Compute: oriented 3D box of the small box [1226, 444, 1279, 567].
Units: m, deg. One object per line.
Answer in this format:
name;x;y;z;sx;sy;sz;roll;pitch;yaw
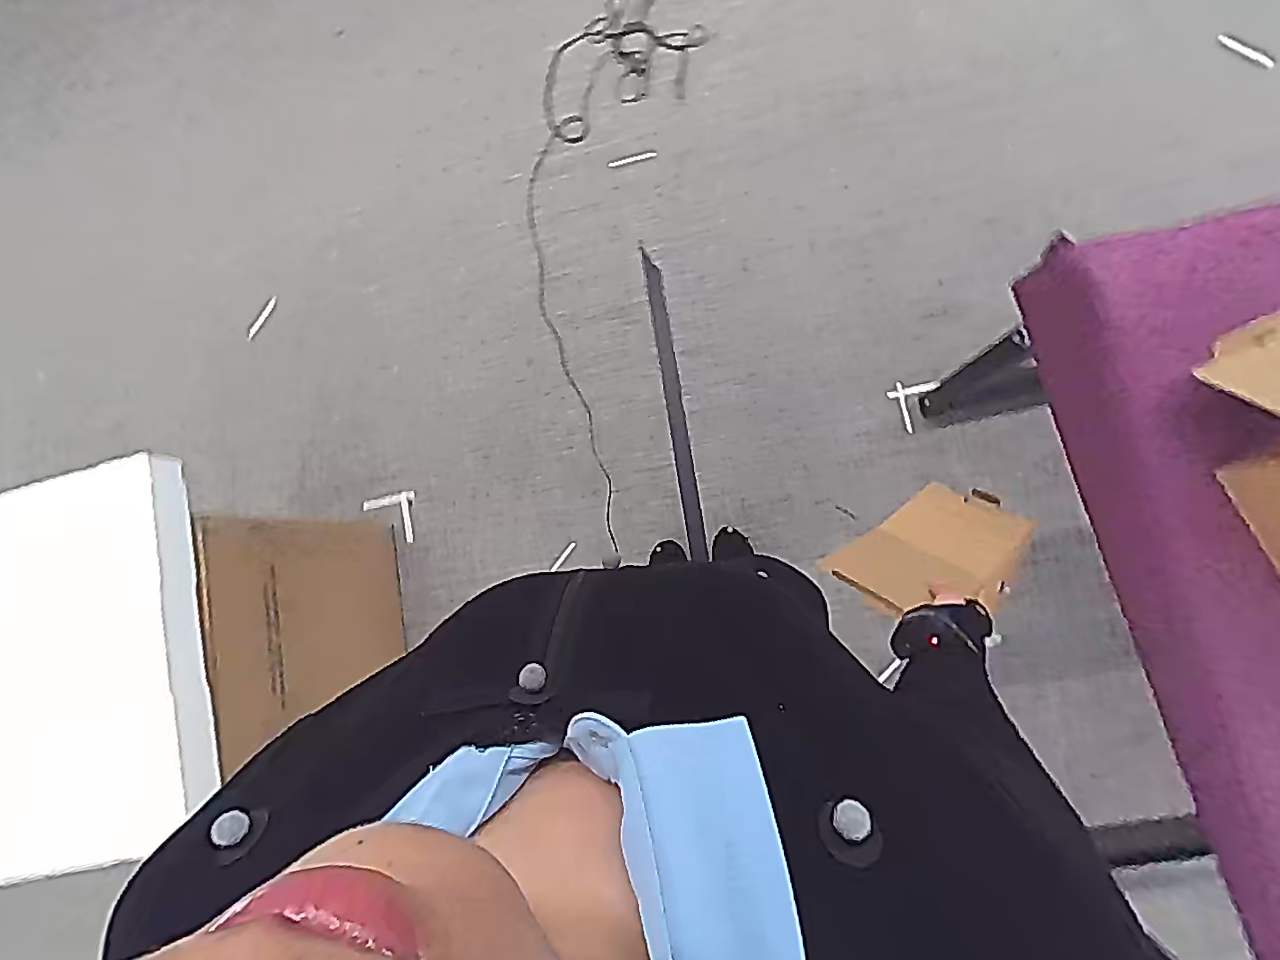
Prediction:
small box;0.803;0.019;0.565;0.168;0.176;0.179;-25;81;6
